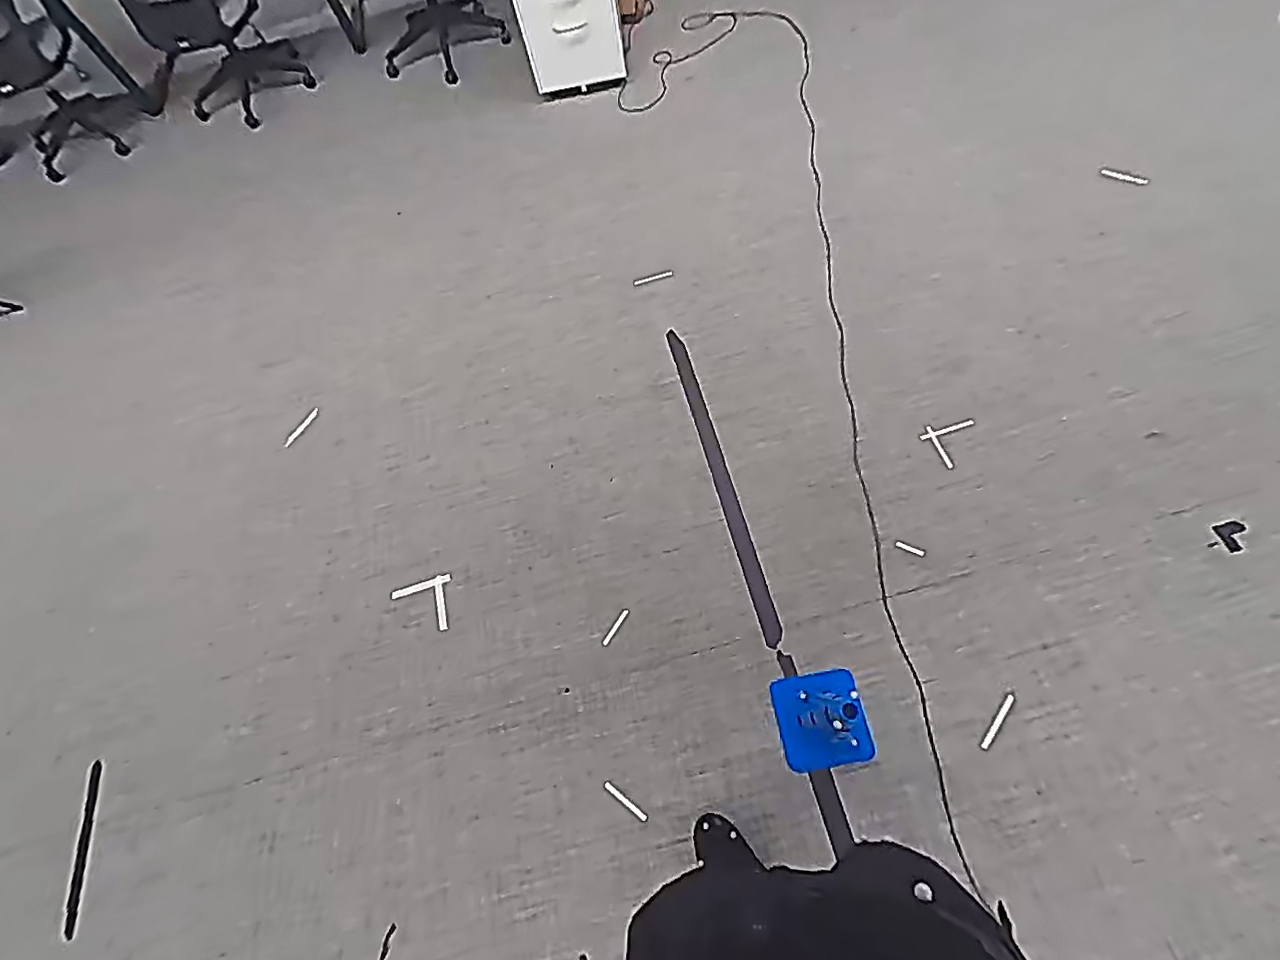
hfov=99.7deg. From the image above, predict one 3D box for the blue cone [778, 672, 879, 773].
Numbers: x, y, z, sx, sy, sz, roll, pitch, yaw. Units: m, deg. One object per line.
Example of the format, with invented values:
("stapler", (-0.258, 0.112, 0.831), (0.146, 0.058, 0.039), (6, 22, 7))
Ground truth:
("blue cone", (0.402, 0.476, 1.088), (0.193, 0.380, 0.192), (-13, 63, 2))
